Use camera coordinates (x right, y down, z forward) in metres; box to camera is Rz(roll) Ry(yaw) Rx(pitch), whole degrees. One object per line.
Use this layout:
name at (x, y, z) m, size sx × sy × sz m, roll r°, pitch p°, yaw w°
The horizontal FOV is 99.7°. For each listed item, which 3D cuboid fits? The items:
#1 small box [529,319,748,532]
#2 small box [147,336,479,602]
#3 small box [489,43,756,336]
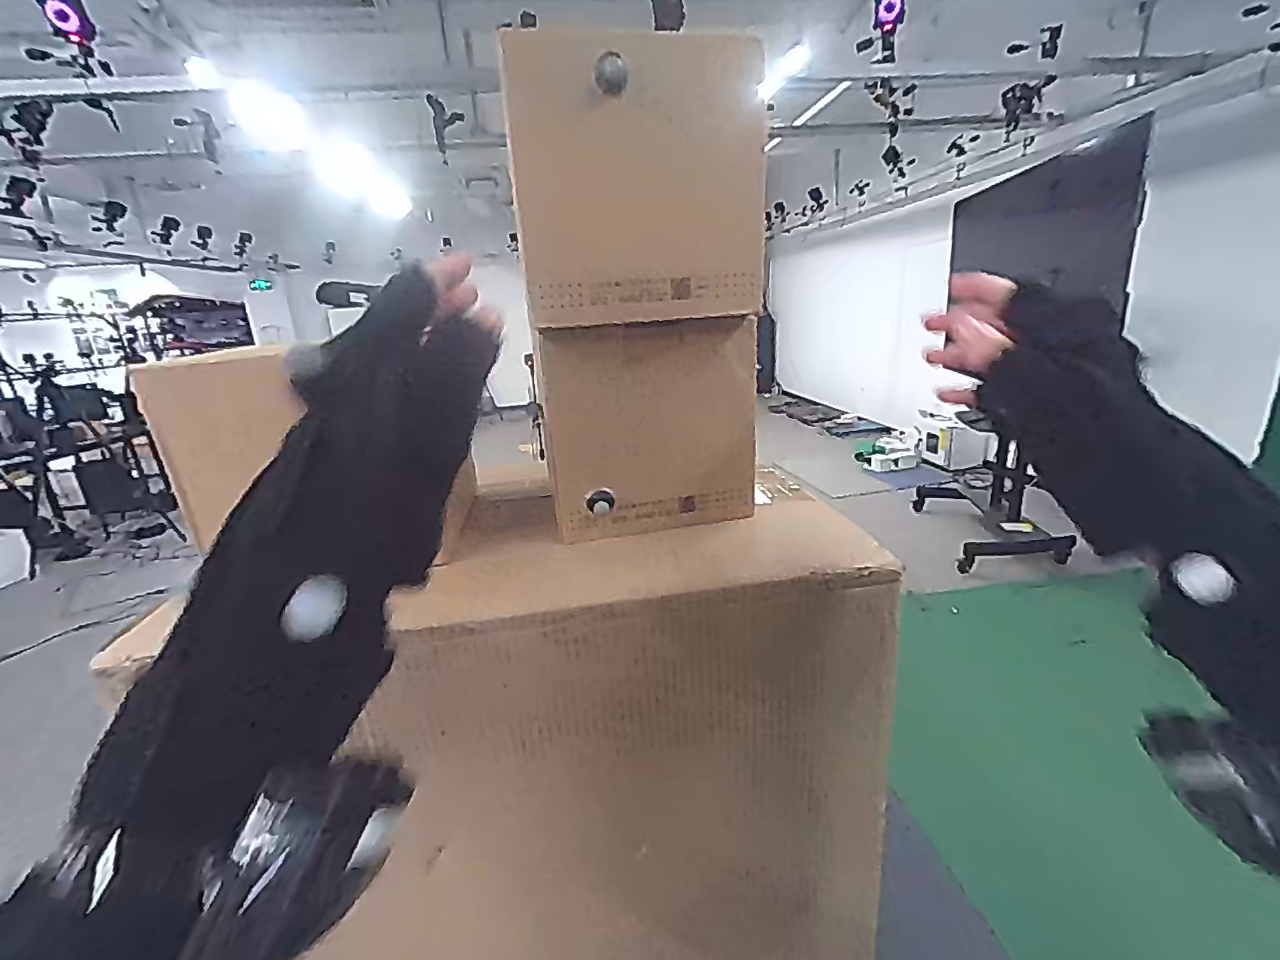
small box at (-0.007, -0.059, 0.498) m, size 0.168 × 0.176 × 0.179 m, roll -8°, pitch 18°, yaw -11°
small box at (-0.241, -0.022, 0.458) m, size 0.168 × 0.176 × 0.179 m, roll -9°, pitch 21°, yaw -6°
small box at (-0.018, -0.206, 0.427) m, size 0.168 × 0.176 × 0.179 m, roll -8°, pitch 19°, yaw -9°
